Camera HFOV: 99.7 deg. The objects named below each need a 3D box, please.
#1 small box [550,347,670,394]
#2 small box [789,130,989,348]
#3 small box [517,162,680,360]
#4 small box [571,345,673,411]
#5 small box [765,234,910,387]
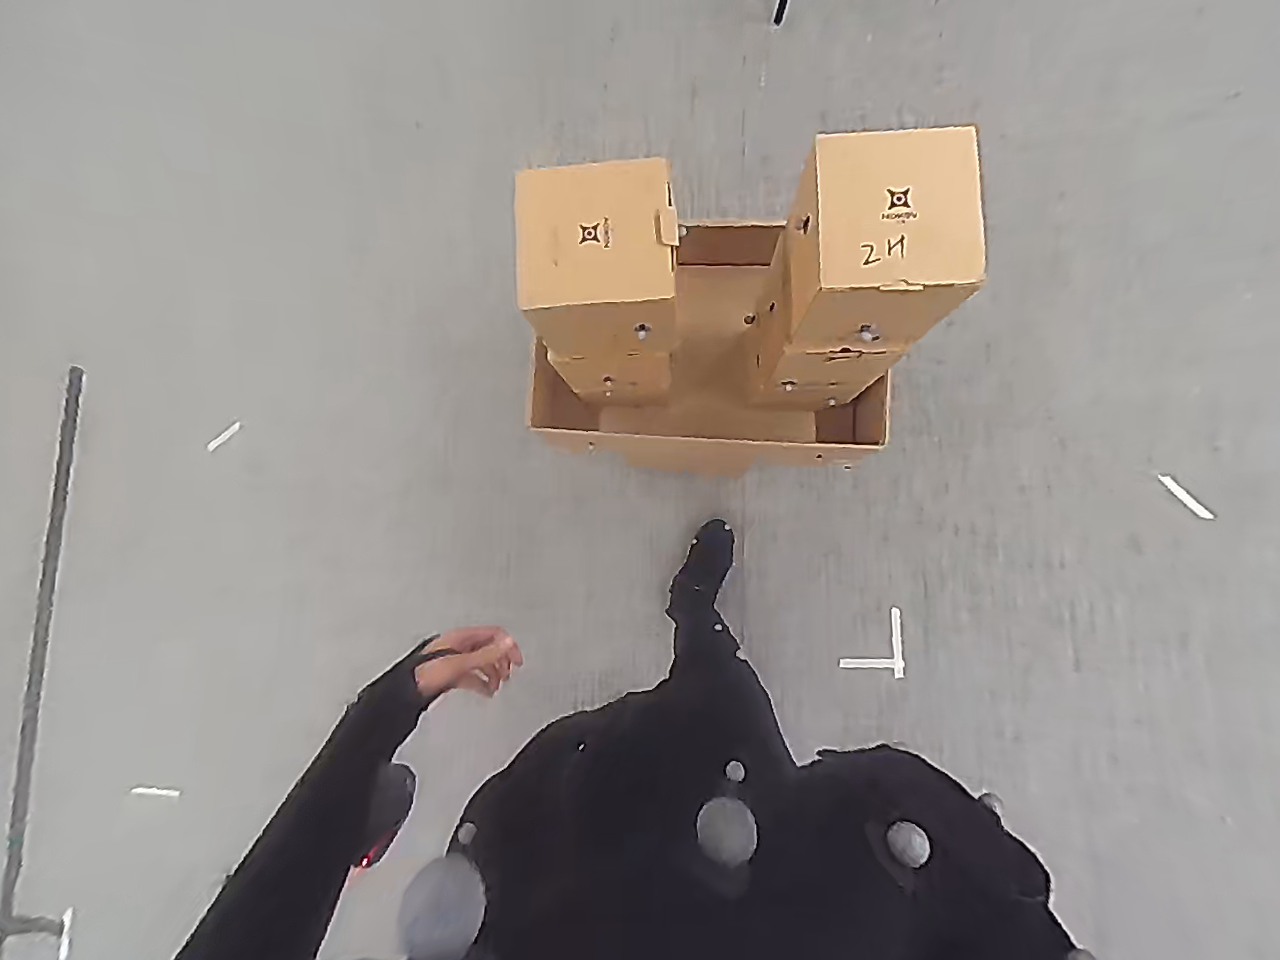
[{"bbox_3d":[-0.040,-0.240,0.827,0.168,0.176,0.179,-3,86,5],"label":"small box"},{"bbox_3d":[0.273,-0.267,0.632,0.168,0.176,0.179,0,85,5],"label":"small box"},{"bbox_3d":[-0.042,-0.253,0.663,0.179,0.176,0.168,-3,85,5],"label":"small box"},{"bbox_3d":[-0.027,-0.231,0.989,0.168,0.176,0.179,0,84,6],"label":"small box"},{"bbox_3d":[0.279,-0.238,0.795,0.168,0.176,0.179,0,84,5],"label":"small box"}]
